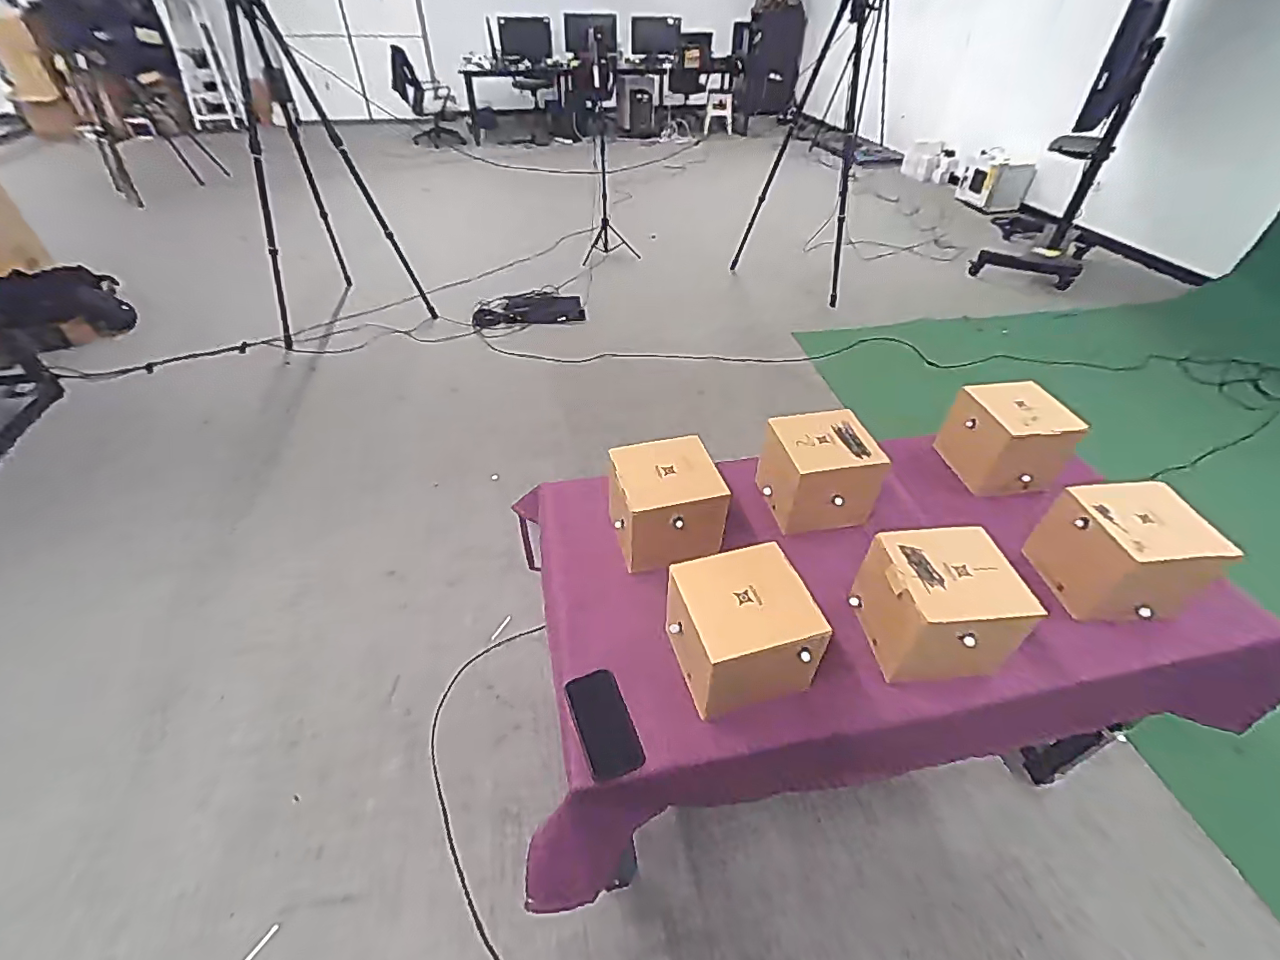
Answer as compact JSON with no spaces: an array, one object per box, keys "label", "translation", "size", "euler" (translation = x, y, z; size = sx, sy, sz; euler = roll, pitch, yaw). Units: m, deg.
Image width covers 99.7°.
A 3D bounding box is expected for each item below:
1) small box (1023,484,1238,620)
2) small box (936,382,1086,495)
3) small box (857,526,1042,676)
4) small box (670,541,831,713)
[{"label":"small box","translation":[0.816,0.124,0.925],"size":[0.179,0.176,0.168],"euler":[-2,43,-4]},{"label":"small box","translation":[0.772,-0.089,1.152],"size":[0.168,0.176,0.179],"euler":[-5,44,-6]},{"label":"small box","translation":[0.460,0.191,0.845],"size":[0.179,0.176,0.168],"euler":[-2,43,-5]},{"label":"small box","translation":[0.150,0.221,0.809],"size":[0.179,0.176,0.168],"euler":[-10,44,-14]}]
